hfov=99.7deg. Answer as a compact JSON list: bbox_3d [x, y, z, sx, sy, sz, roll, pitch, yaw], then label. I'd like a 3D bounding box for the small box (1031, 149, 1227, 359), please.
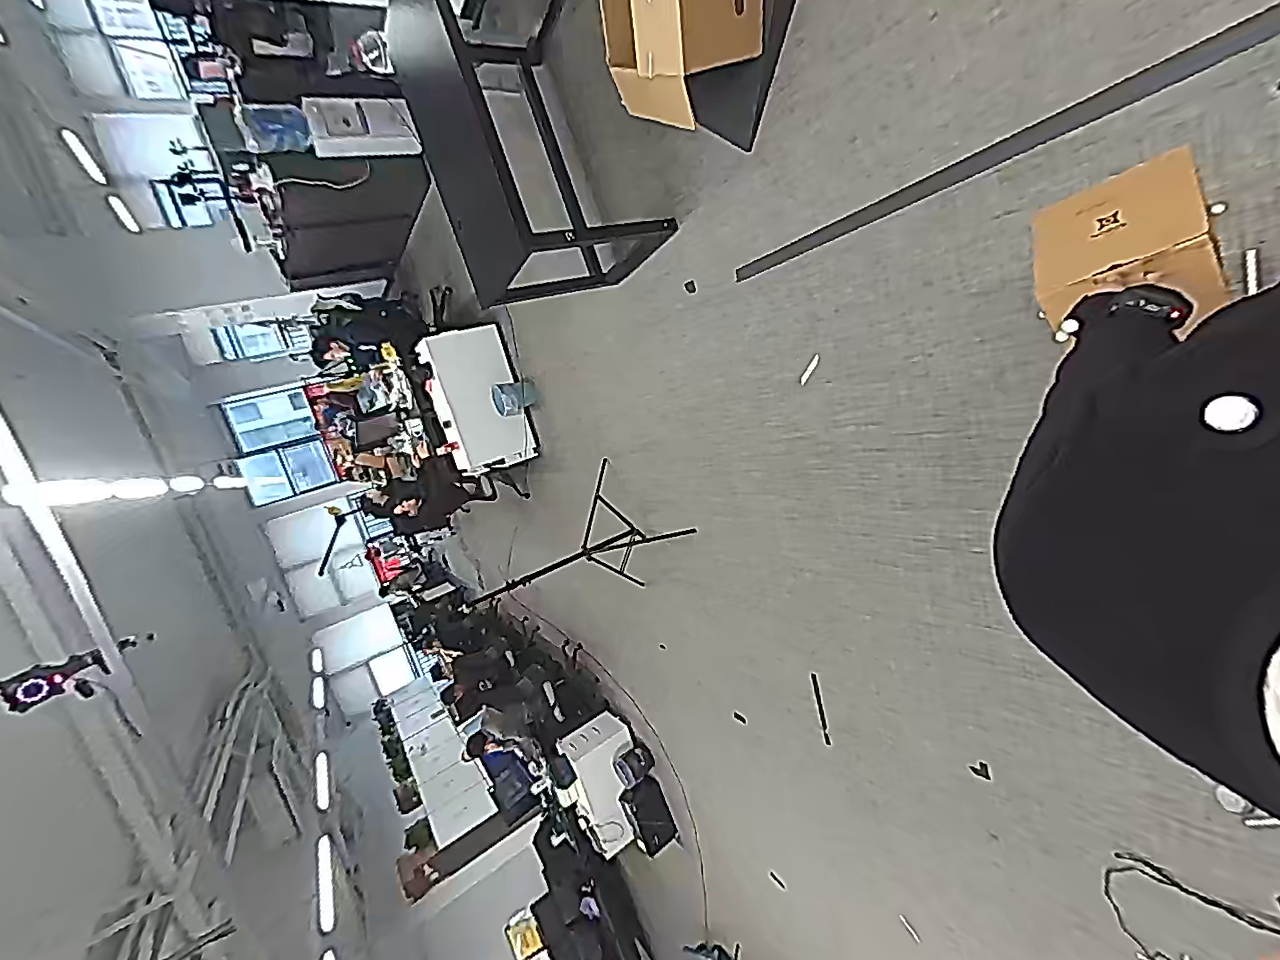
[{"bbox_3d":[0.658,-0.288,0.736,0.176,0.179,0.168,35,150,-30],"label":"small box"}]
